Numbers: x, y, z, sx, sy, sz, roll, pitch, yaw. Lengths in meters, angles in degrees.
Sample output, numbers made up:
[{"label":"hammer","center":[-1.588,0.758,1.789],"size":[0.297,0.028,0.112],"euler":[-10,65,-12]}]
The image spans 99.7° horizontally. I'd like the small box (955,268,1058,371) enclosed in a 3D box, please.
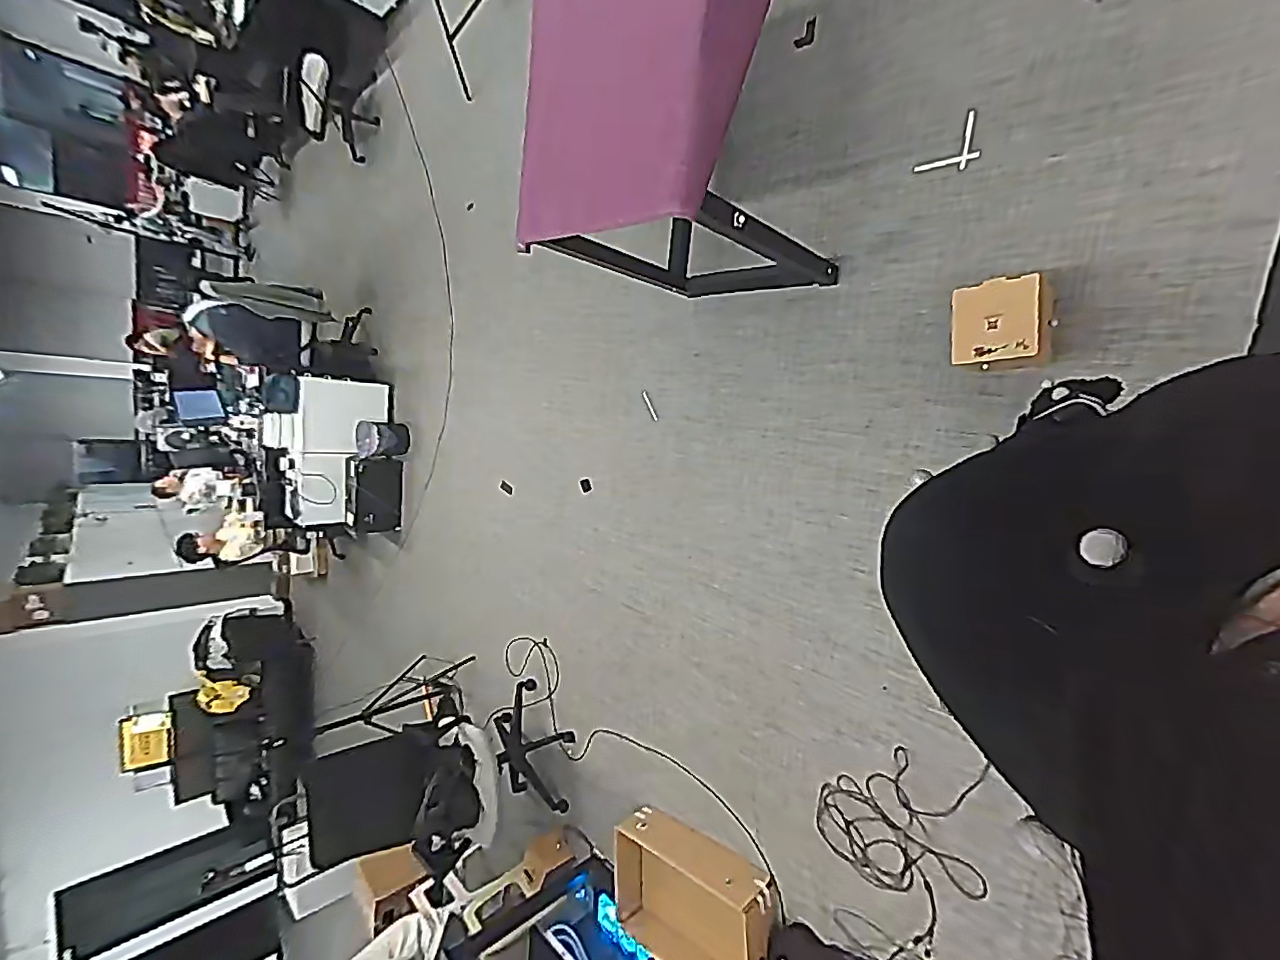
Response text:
[{"label":"small box","center":[0.834,-0.355,1.229],"size":[0.168,0.176,0.179],"euler":[2,92,45]}]
